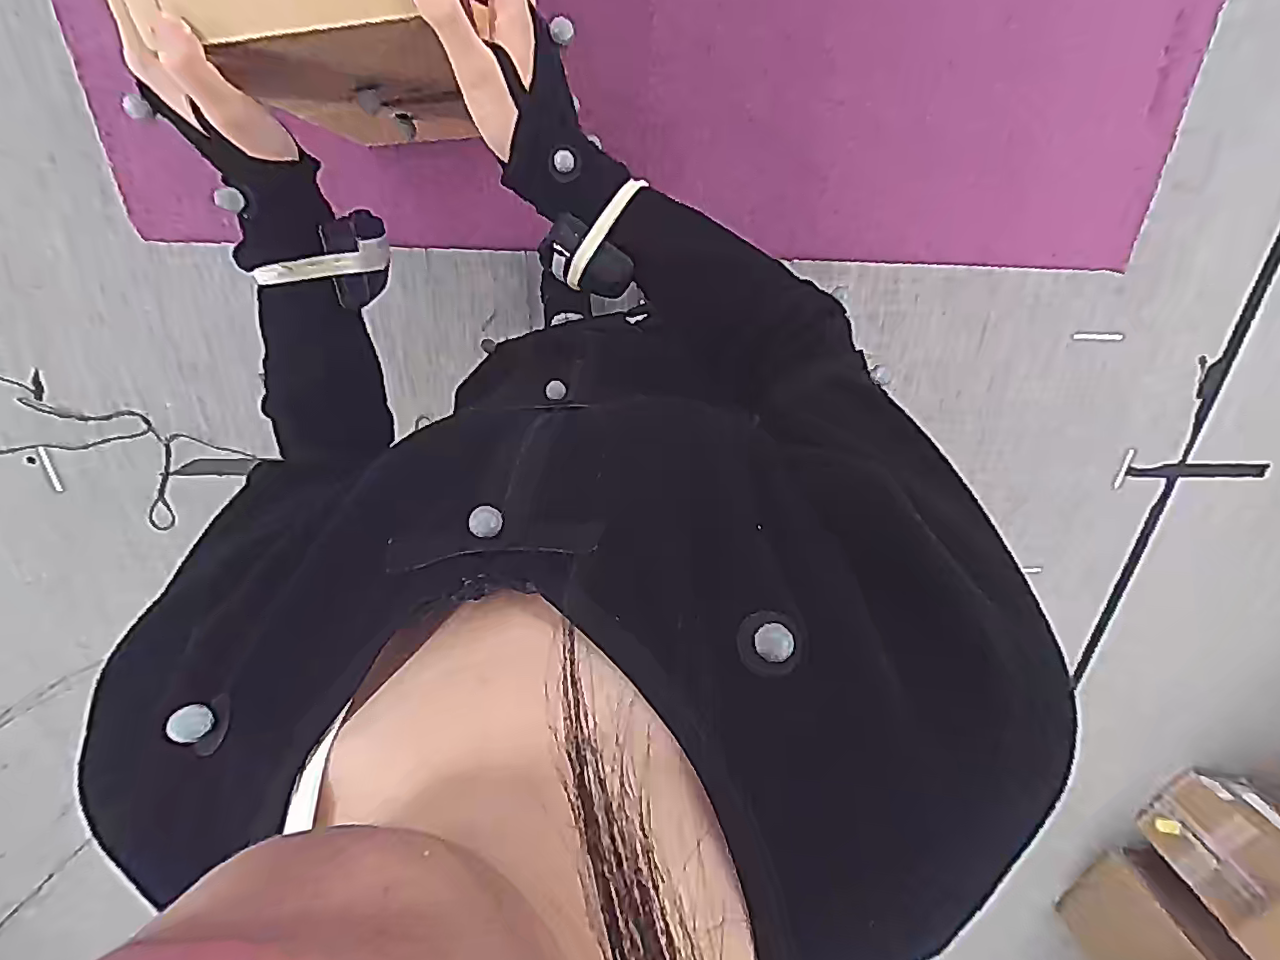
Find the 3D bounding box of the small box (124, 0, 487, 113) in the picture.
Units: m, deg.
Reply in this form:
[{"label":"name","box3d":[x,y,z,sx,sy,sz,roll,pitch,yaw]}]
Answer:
[{"label":"small box","box3d":[-0.204,-0.353,0.331,0.168,0.176,0.179,-9,116,-1]}]

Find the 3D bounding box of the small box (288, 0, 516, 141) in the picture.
[{"label":"small box","box3d":[-0.212,-0.414,0.483,0.179,0.176,0.168,-6,115,-3]}]
